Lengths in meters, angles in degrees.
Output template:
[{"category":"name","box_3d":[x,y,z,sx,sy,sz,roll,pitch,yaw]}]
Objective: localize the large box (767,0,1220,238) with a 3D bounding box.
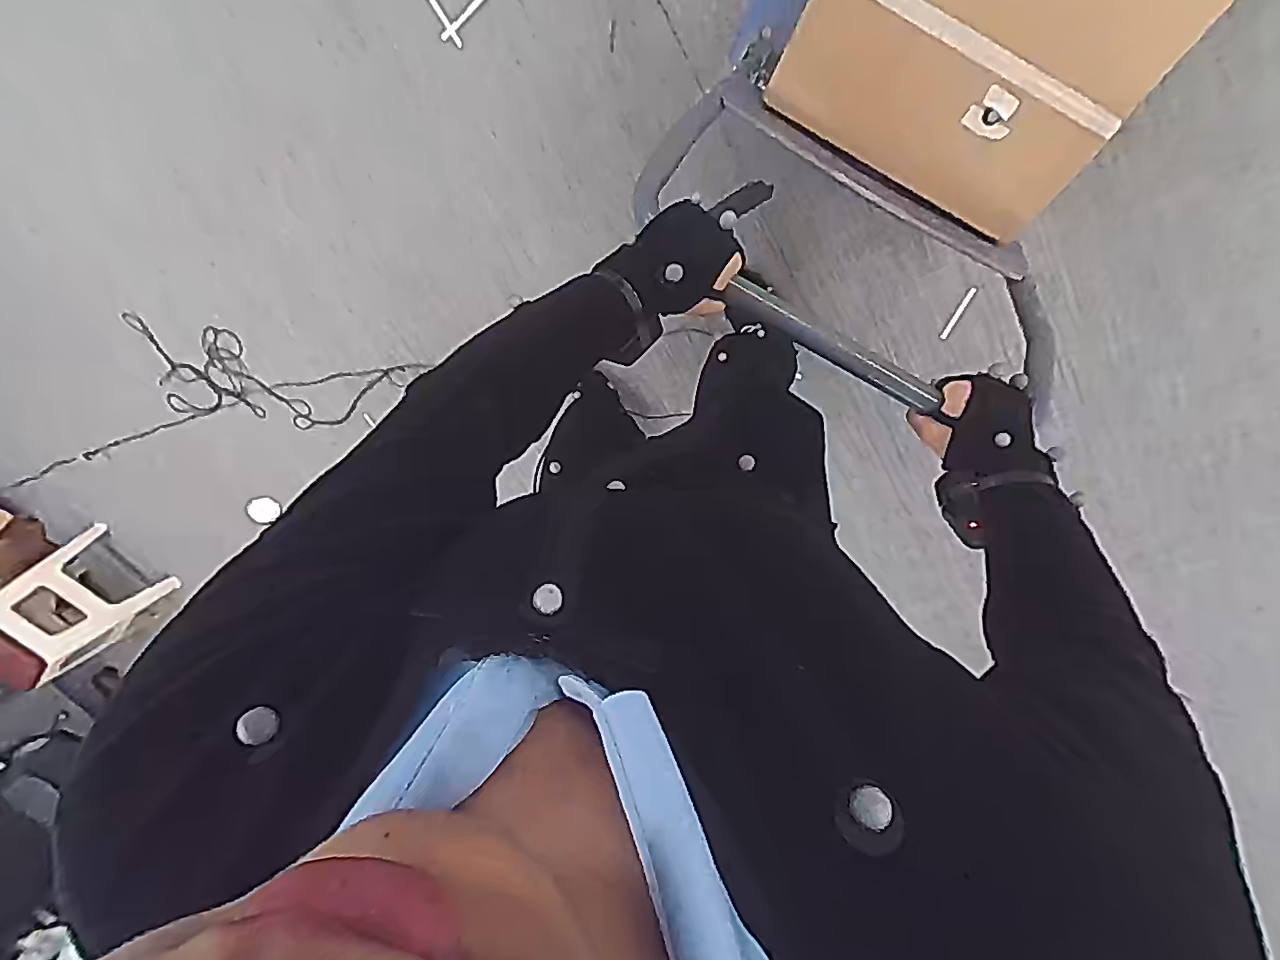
[{"category":"large box","box_3d":[0.443,-0.623,0.767,0.408,0.320,0.320,28,135,-4]}]
